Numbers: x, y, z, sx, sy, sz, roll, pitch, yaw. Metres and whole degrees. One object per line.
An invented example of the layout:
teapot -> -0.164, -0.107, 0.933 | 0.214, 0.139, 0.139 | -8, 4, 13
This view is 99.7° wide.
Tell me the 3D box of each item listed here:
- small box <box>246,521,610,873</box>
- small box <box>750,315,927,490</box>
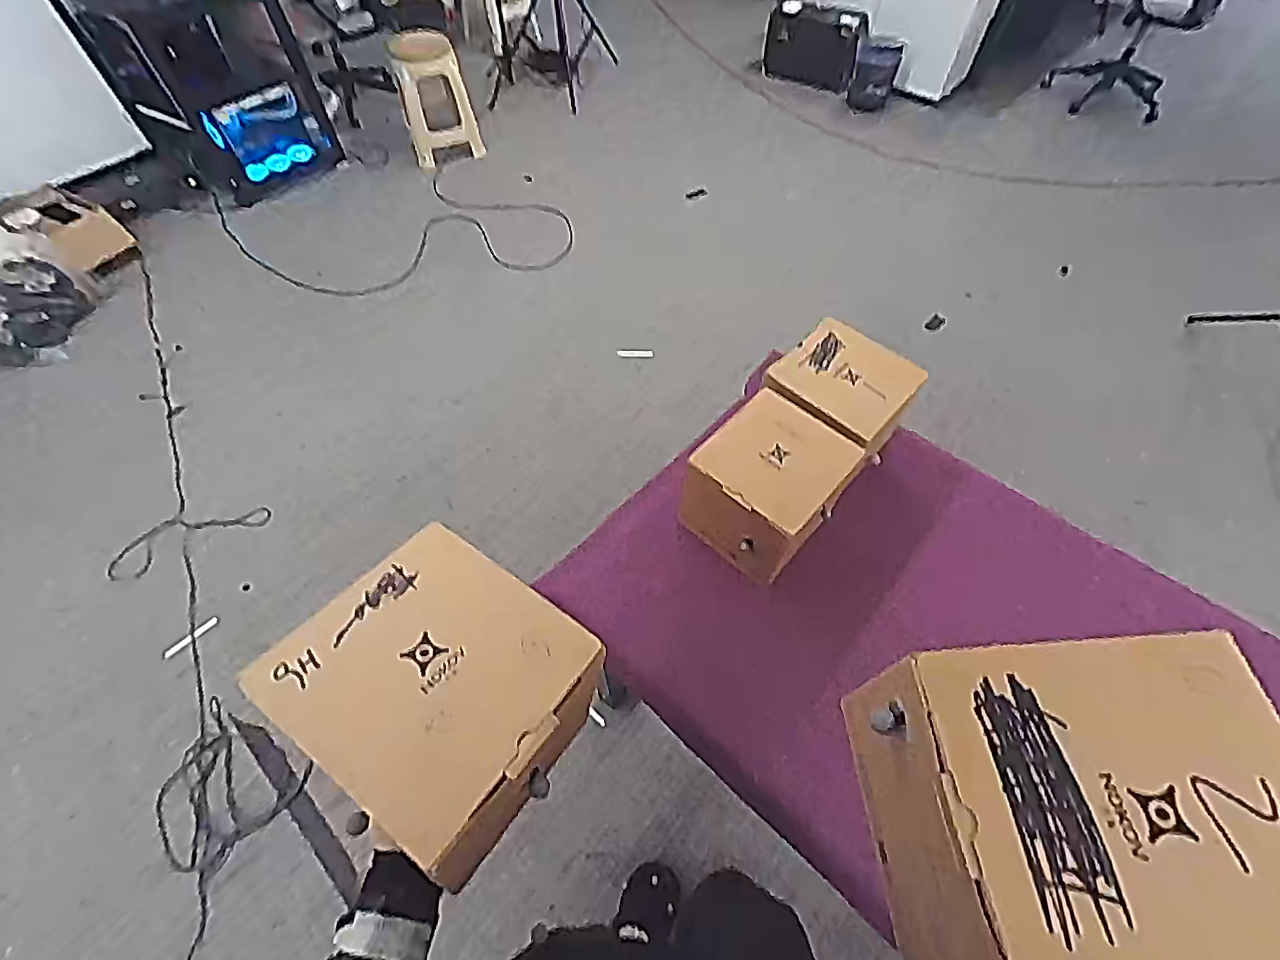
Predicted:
small box -> -0.148, 0.172, 0.427 | 0.179, 0.176, 0.168 | 32, 51, 14
small box -> 0.295, -0.116, 0.844 | 0.179, 0.176, 0.168 | 40, 67, 21
